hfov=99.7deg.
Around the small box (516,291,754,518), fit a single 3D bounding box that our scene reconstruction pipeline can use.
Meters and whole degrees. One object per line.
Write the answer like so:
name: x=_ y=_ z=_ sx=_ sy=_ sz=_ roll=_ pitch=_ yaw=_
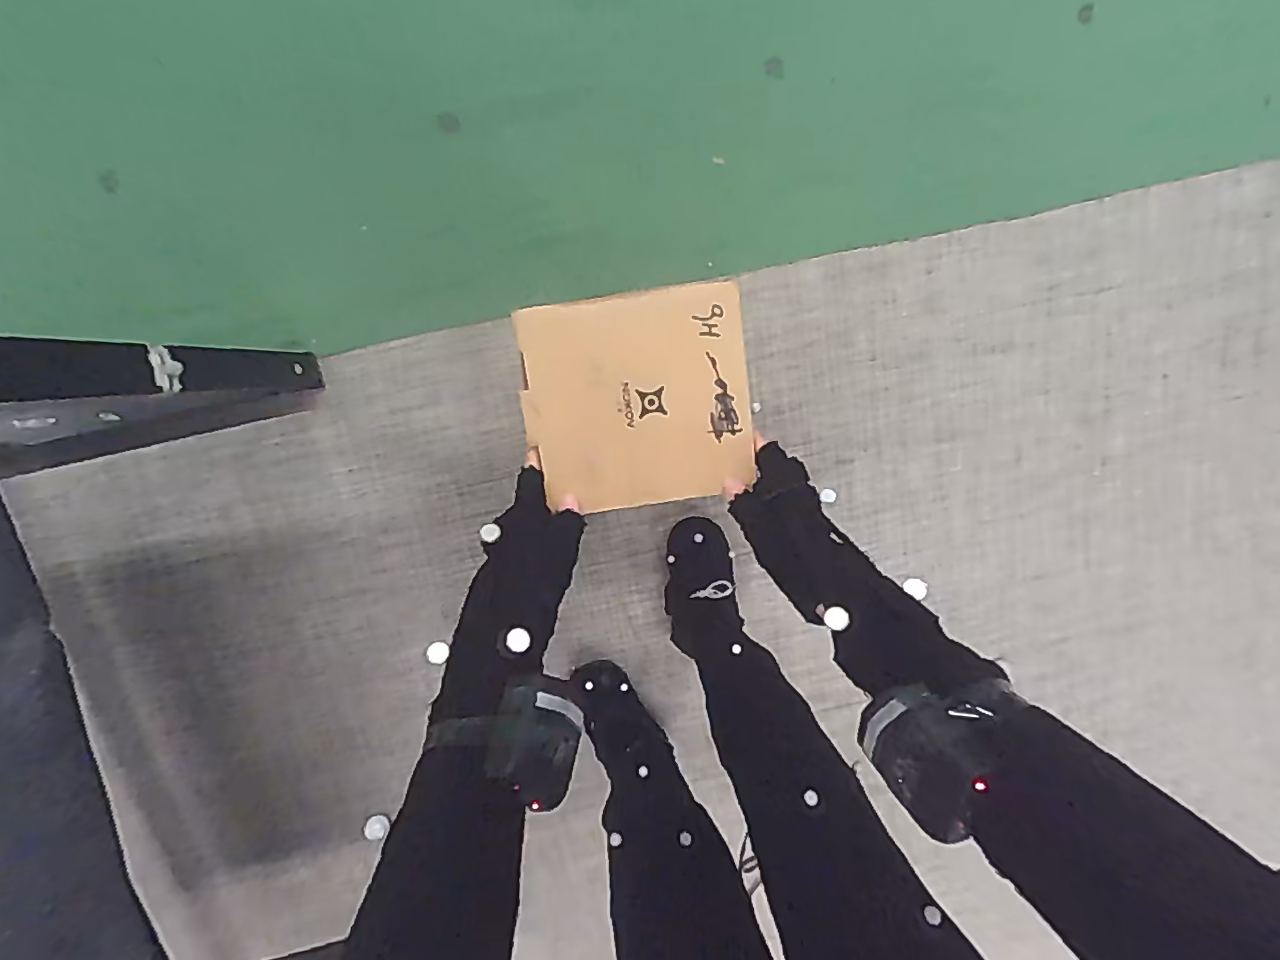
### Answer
small box: x=-0.003 y=-0.070 z=0.506 sx=0.179 sy=0.176 sz=0.168 roll=-7 pitch=101 yaw=-1
